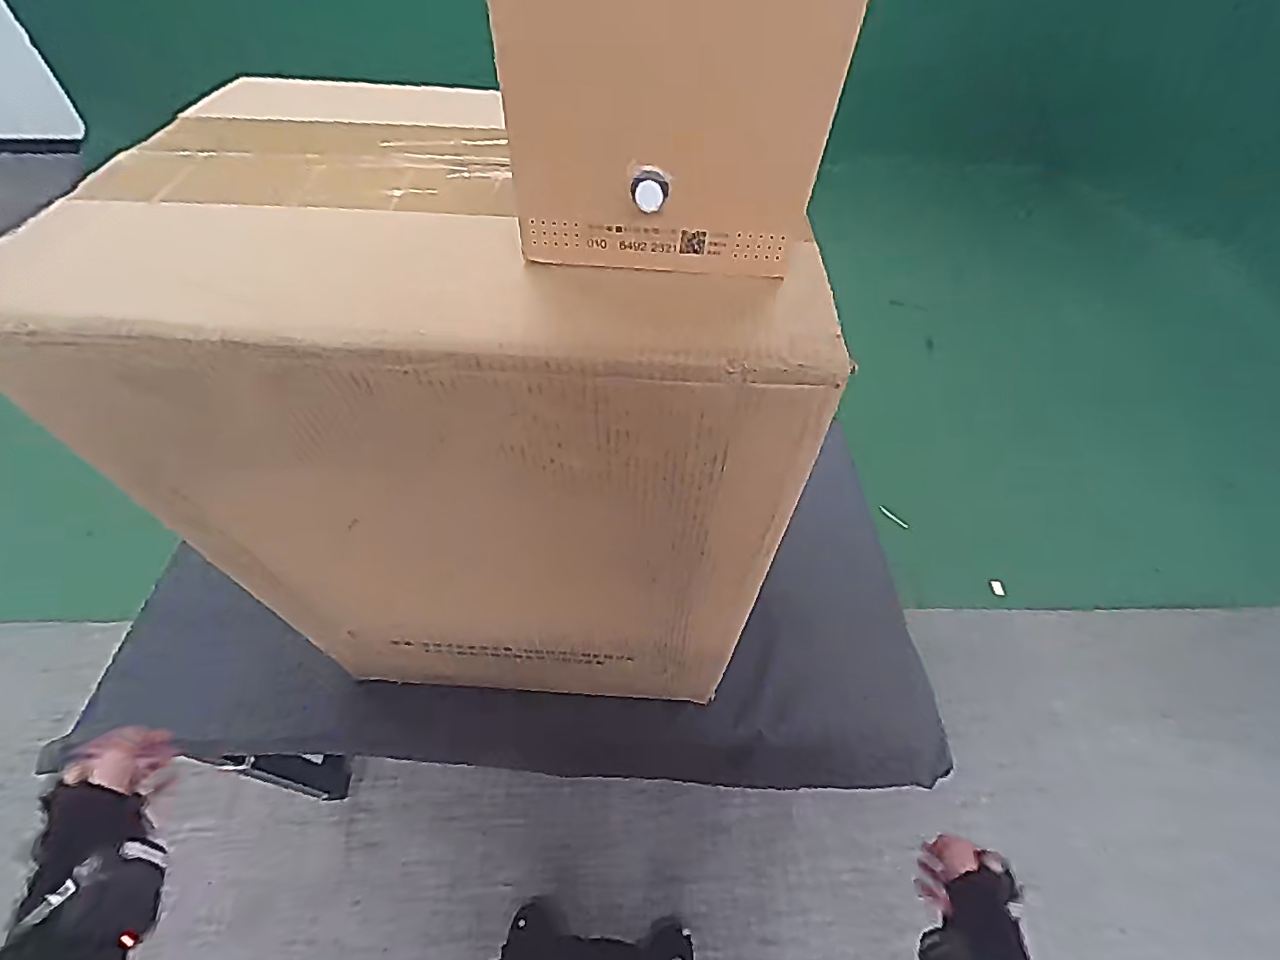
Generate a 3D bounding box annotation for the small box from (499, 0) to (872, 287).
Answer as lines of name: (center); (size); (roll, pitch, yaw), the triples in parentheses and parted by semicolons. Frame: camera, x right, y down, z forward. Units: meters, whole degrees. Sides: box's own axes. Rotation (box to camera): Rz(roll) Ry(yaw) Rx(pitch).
small box: (0.017, -0.244, 0.321); (0.168, 0.176, 0.179); (4, 56, -1)
